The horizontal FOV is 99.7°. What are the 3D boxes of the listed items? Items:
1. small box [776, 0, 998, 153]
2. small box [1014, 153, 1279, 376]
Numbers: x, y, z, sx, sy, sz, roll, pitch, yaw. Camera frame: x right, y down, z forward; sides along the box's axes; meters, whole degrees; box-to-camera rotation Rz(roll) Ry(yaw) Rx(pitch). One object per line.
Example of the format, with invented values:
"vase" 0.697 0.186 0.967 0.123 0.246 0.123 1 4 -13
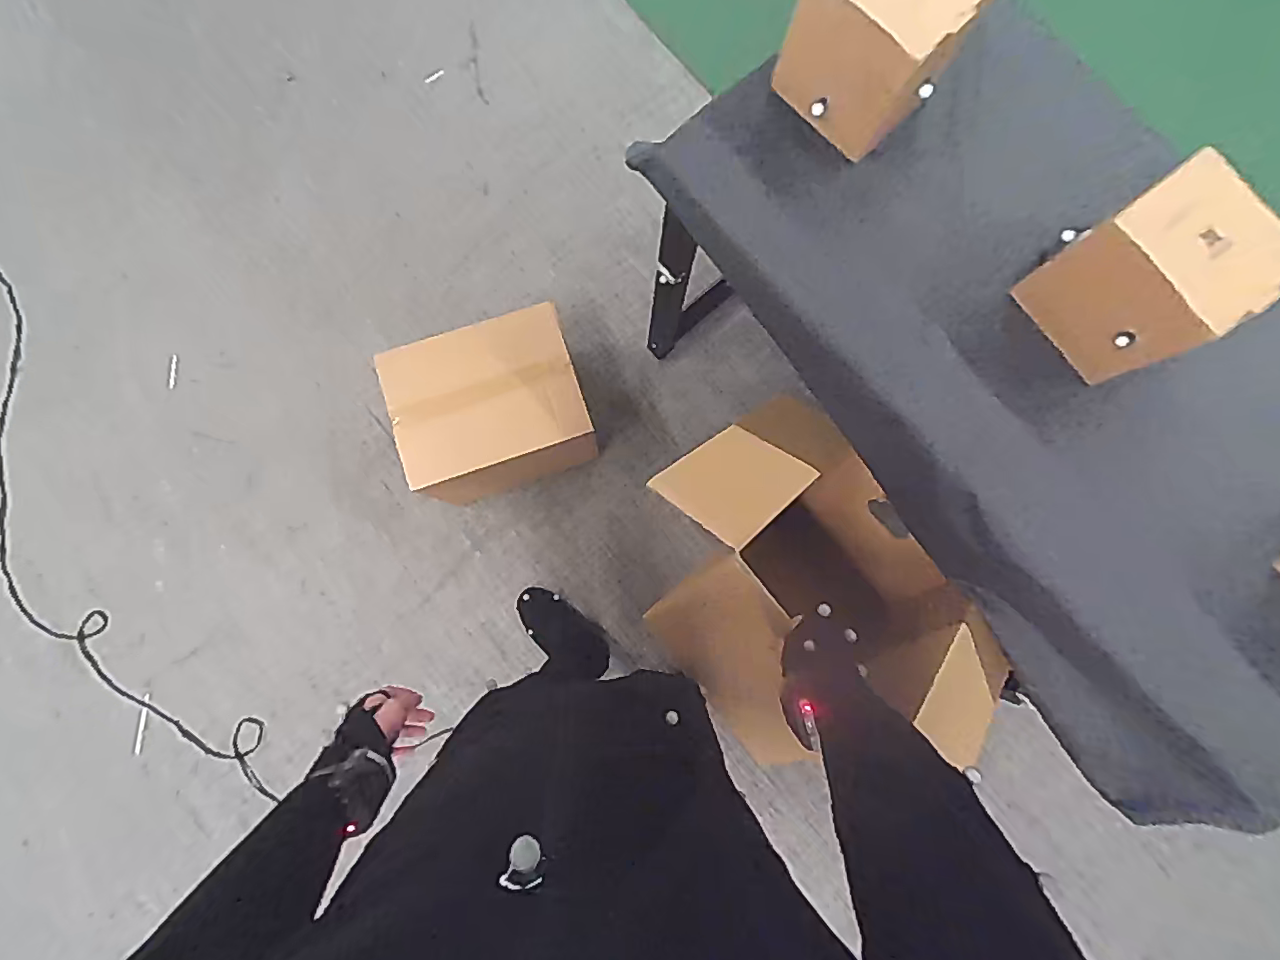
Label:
"small box" 0.315 -0.579 0.718 0.179 0.176 0.168 44 82 3
"small box" 0.640 -0.253 0.687 0.168 0.176 0.179 -37 84 -8
